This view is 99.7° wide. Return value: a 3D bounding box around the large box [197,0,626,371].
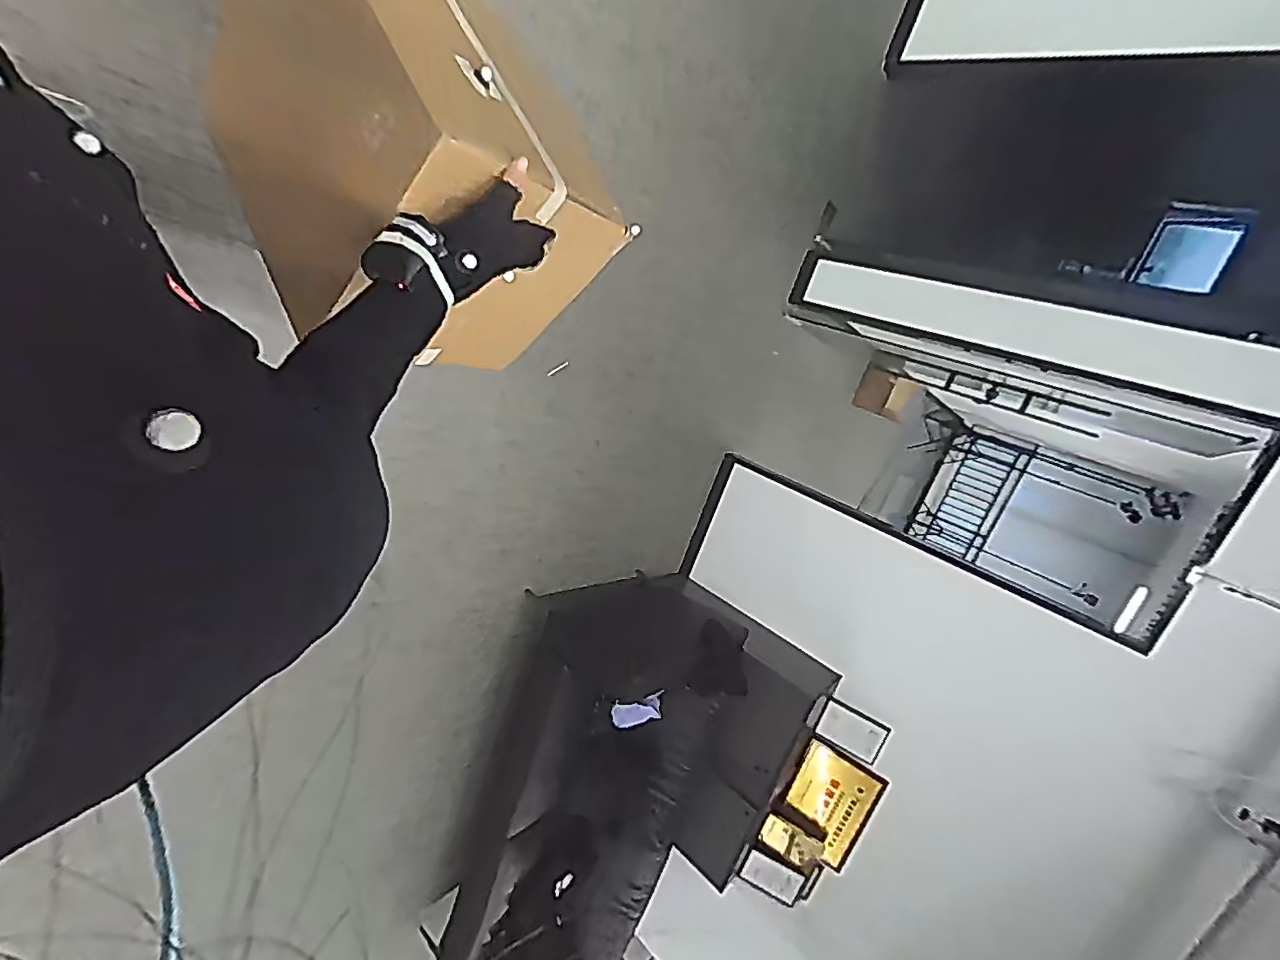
[{"bbox_3d":[-0.297,-0.406,0.718,0.320,0.408,0.320,-35,168,30],"label":"large box"}]
